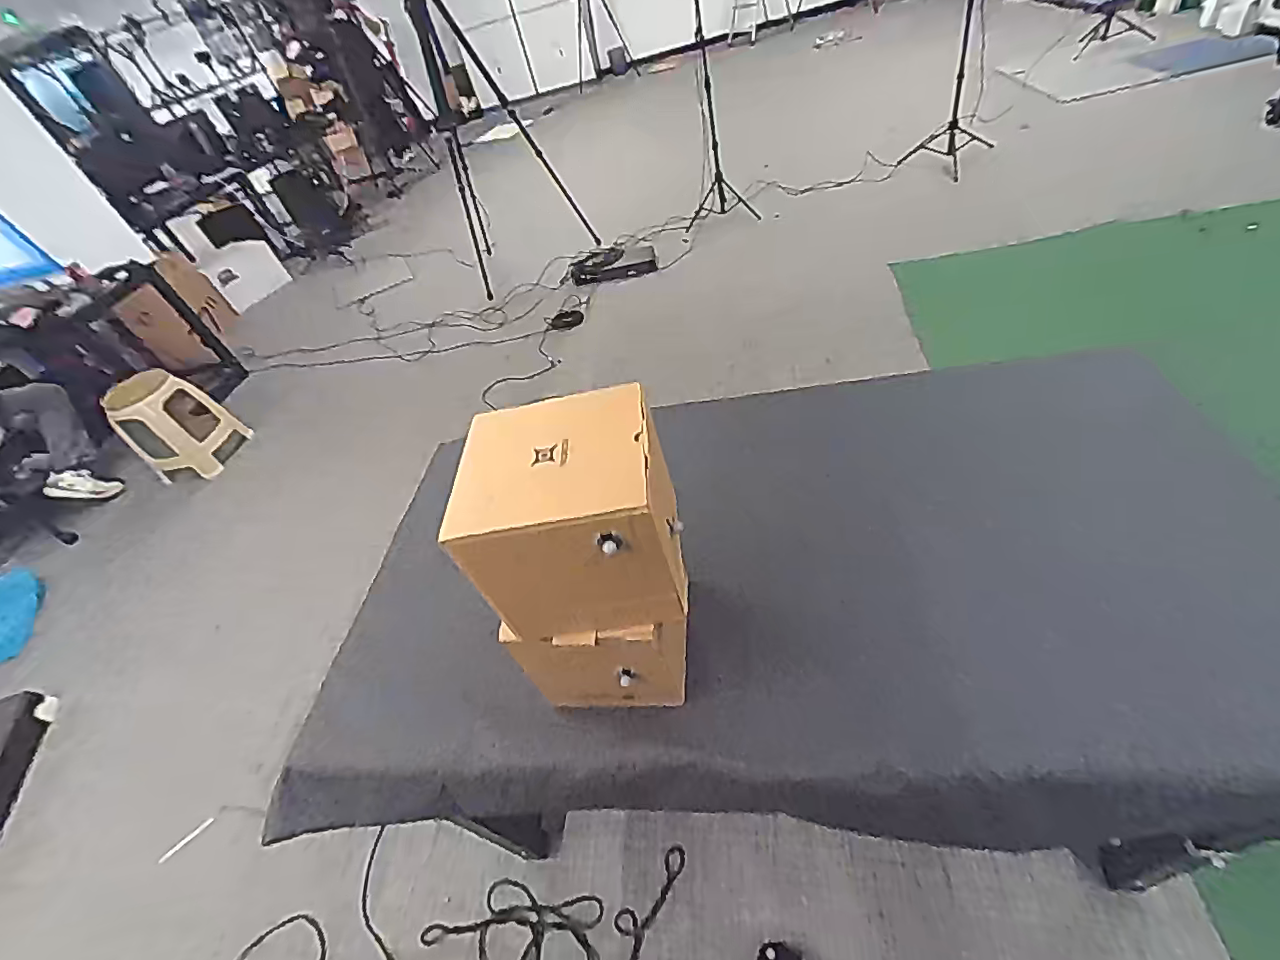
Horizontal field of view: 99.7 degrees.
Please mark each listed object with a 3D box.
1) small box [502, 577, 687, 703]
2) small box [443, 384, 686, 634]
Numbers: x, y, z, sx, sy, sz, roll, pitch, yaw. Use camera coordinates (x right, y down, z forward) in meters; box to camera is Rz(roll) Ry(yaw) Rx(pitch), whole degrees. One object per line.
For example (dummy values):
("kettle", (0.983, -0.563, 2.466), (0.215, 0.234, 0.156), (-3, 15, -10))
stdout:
("small box", (-0.038, 0.150, 0.644), (0.168, 0.176, 0.179), (-5, 44, 12))
("small box", (-0.059, 0.034, 0.532), (0.179, 0.176, 0.168), (-10, 44, 7))
